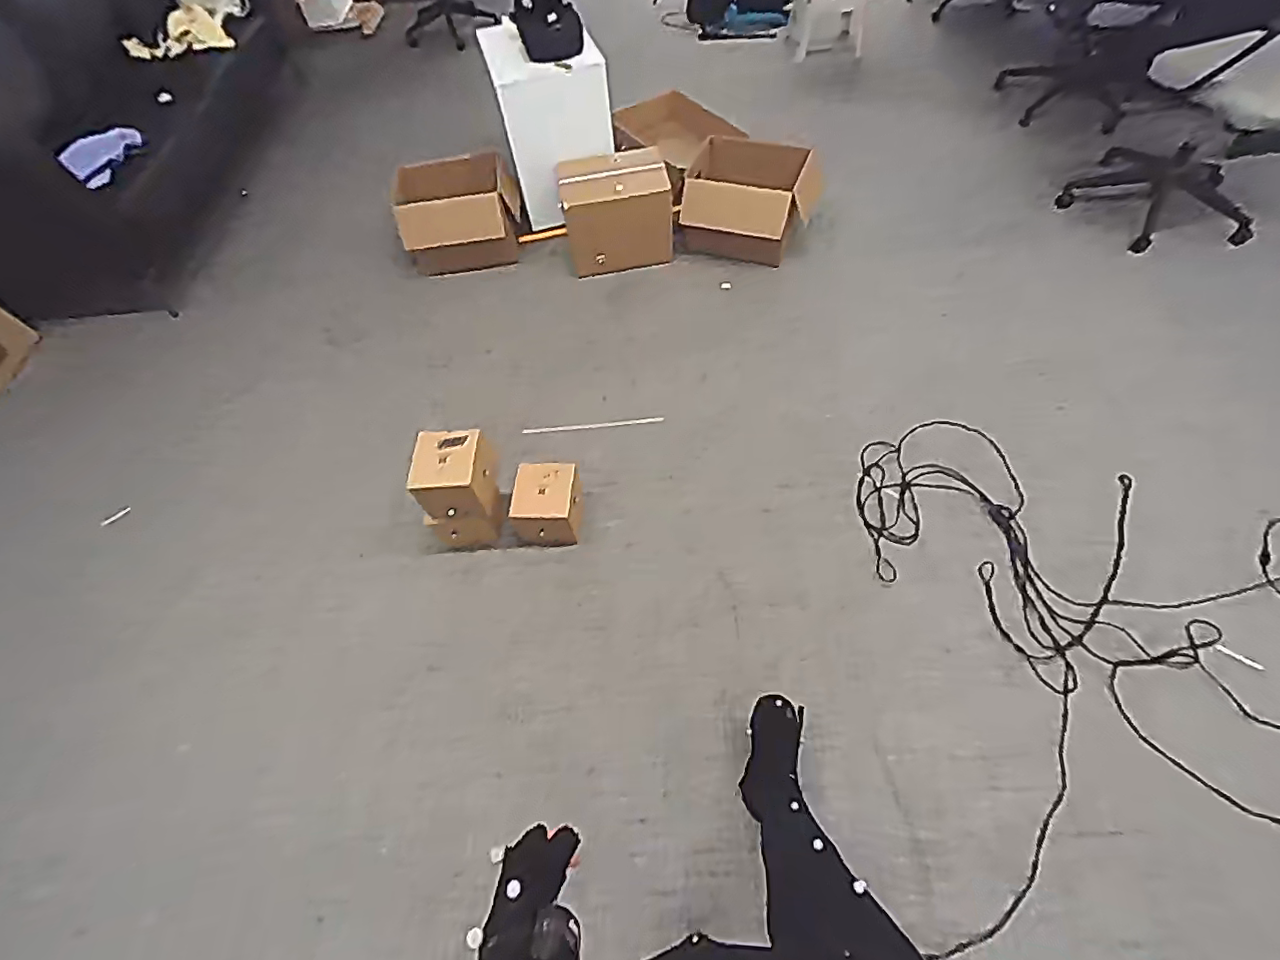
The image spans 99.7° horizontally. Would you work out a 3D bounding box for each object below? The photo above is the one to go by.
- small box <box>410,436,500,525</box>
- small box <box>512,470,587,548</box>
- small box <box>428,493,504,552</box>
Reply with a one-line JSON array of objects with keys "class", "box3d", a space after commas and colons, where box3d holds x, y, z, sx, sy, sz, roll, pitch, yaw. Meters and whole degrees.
[{"class": "small box", "box3d": [-0.481, 0.003, 1.440, 0.168, 0.176, 0.179, -3, 58, 4]}, {"class": "small box", "box3d": [-0.253, 0.087, 1.558, 0.168, 0.176, 0.179, 1, 58, 6]}, {"class": "small box", "box3d": [-0.500, 0.100, 1.577, 0.168, 0.176, 0.179, -9, 57, 0]}]
